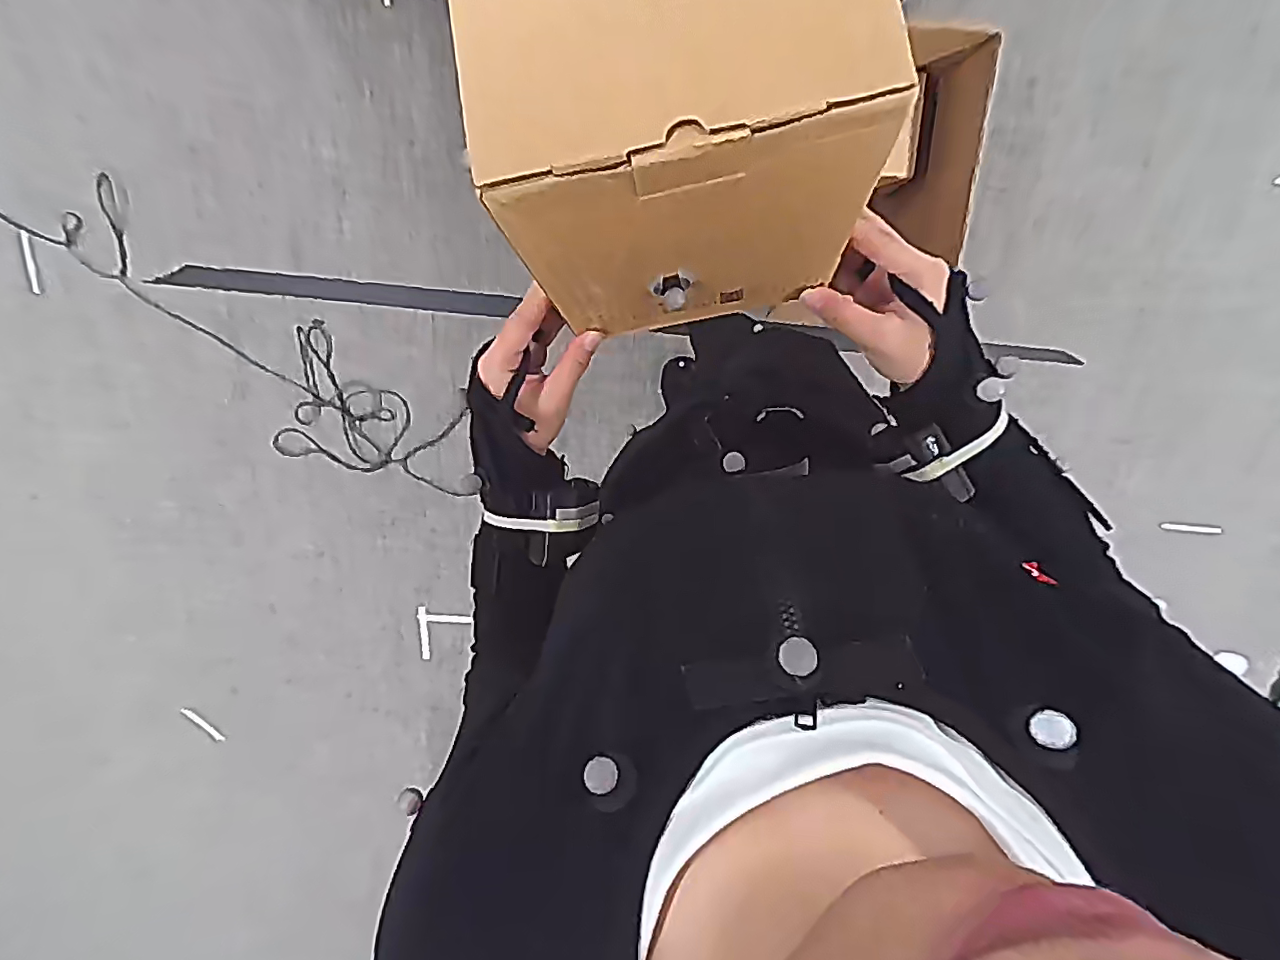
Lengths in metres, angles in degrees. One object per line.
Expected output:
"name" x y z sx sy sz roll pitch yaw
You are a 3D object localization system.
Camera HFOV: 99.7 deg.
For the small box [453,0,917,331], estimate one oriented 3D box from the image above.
"small box" 0.014 -0.203 0.285 0.168 0.176 0.179 -10 84 7
